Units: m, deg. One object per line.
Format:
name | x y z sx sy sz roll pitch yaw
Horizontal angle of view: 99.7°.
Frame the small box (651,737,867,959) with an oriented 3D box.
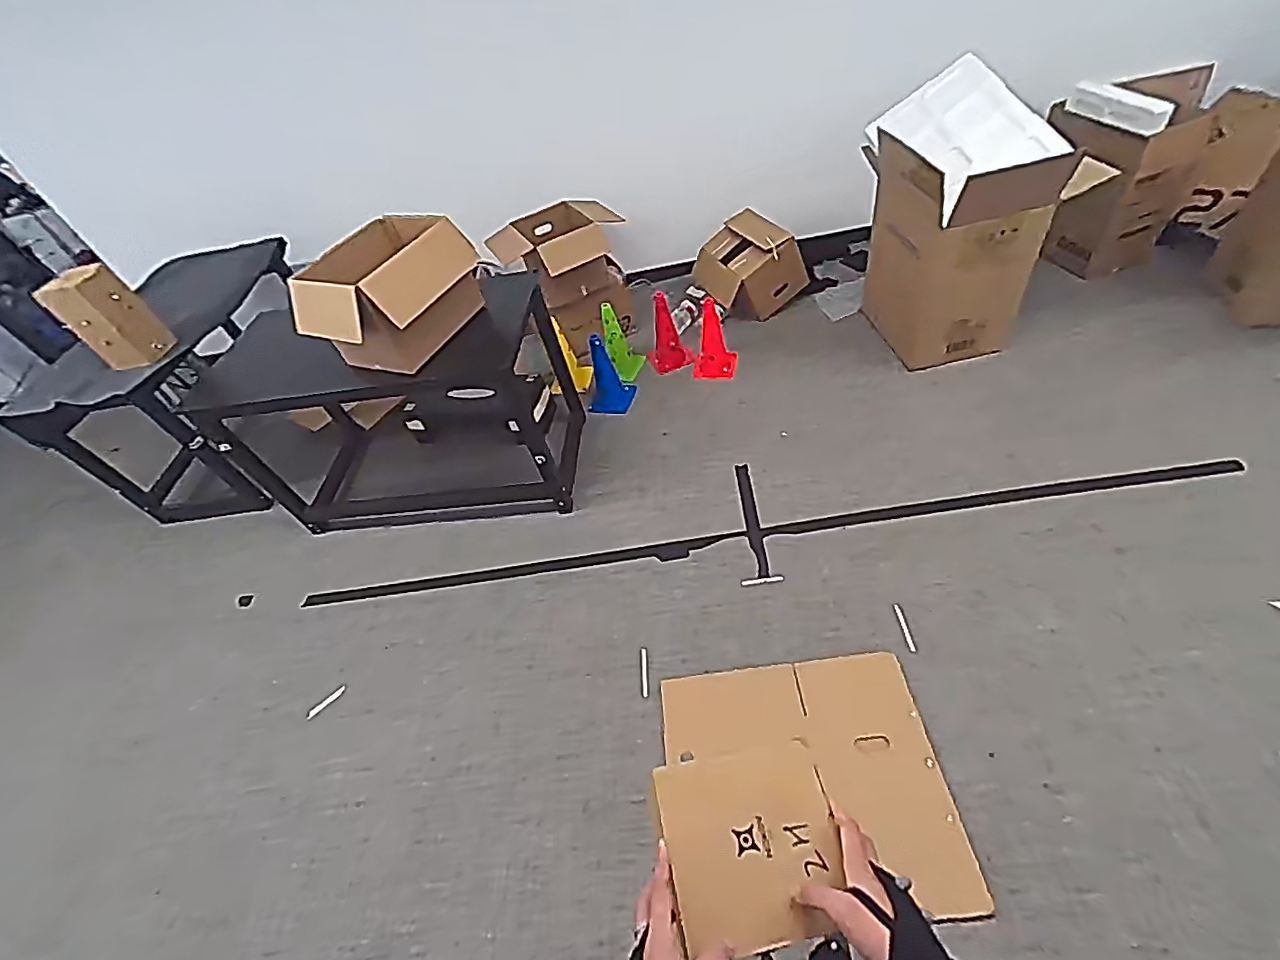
small box | 0.111 0.407 0.596 0.179 0.176 0.168 -8 50 -8
